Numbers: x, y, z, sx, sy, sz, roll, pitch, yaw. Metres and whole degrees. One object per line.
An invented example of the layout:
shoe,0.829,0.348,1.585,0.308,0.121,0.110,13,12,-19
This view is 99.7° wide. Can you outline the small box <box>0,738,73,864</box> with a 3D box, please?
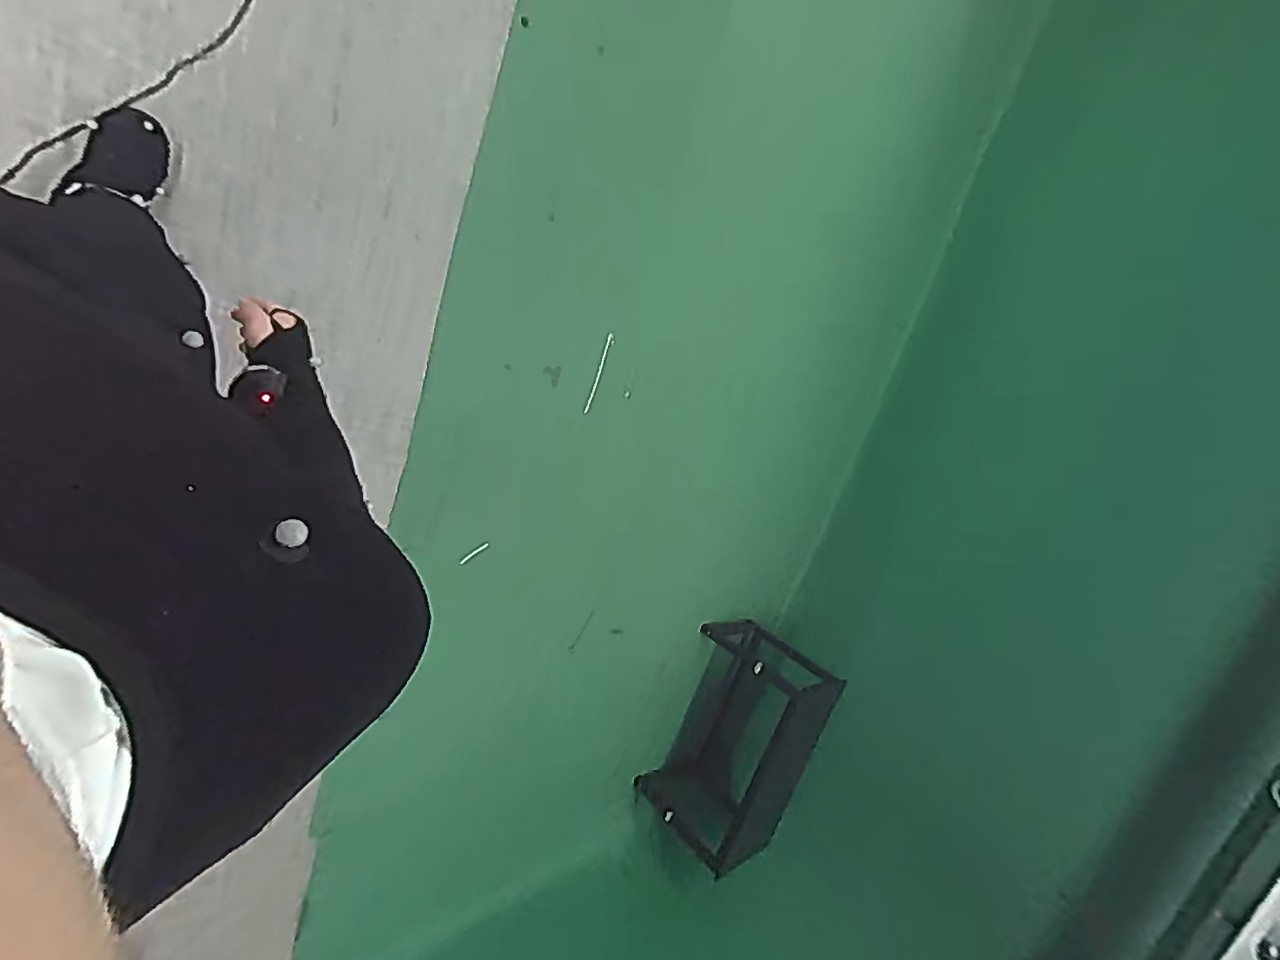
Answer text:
small box,-1.344,0.684,1.147,0.179,0.176,0.168,10,104,-48
